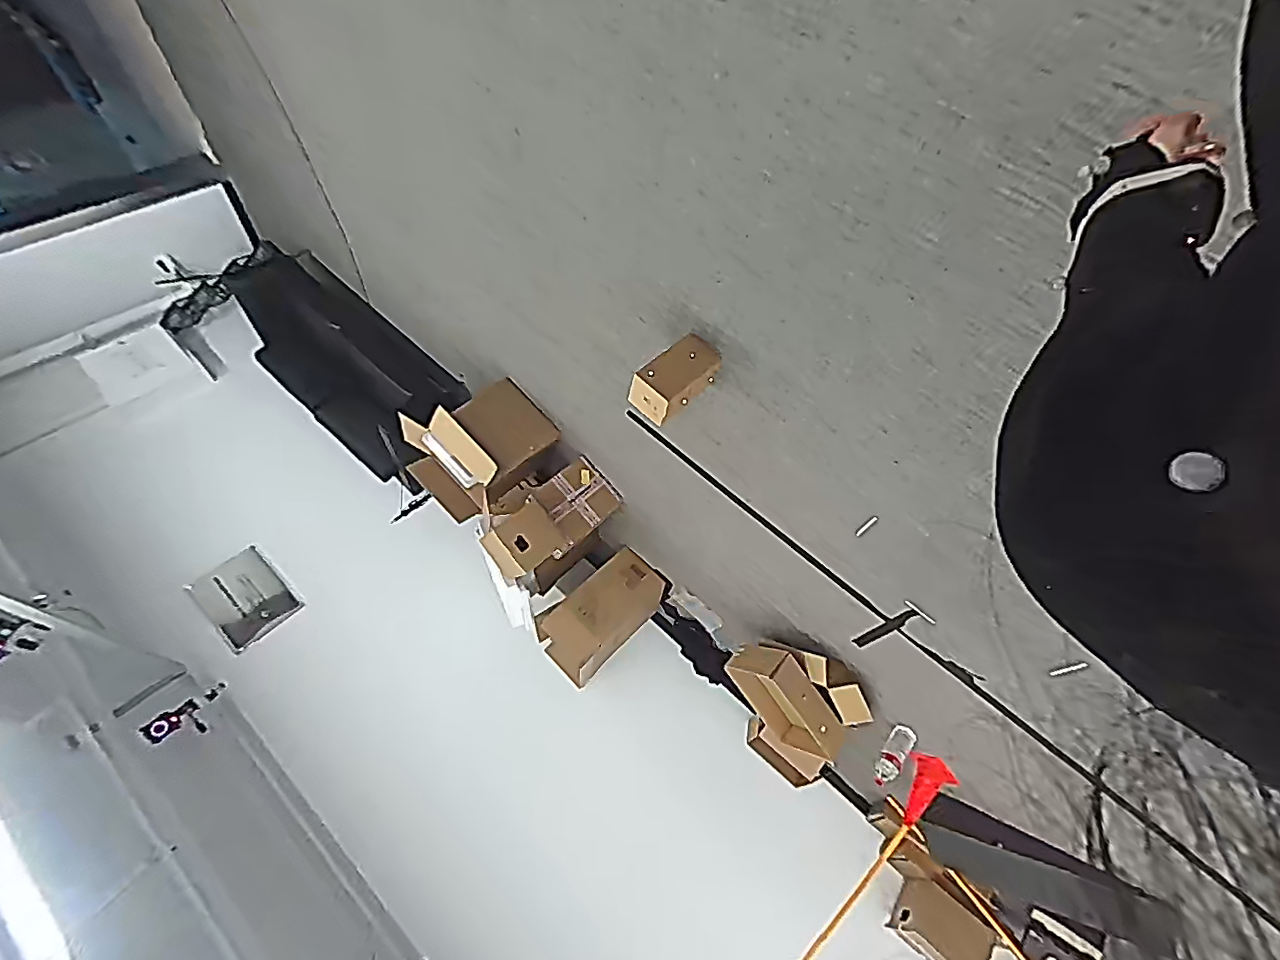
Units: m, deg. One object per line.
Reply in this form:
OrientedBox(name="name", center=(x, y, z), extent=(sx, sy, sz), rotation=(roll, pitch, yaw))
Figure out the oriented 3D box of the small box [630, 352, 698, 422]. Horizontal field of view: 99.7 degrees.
OrientedBox(name="small box", center=(0.090, -0.366, 2.077), extent=(0.179, 0.176, 0.168), rotation=(41, 152, 12))
